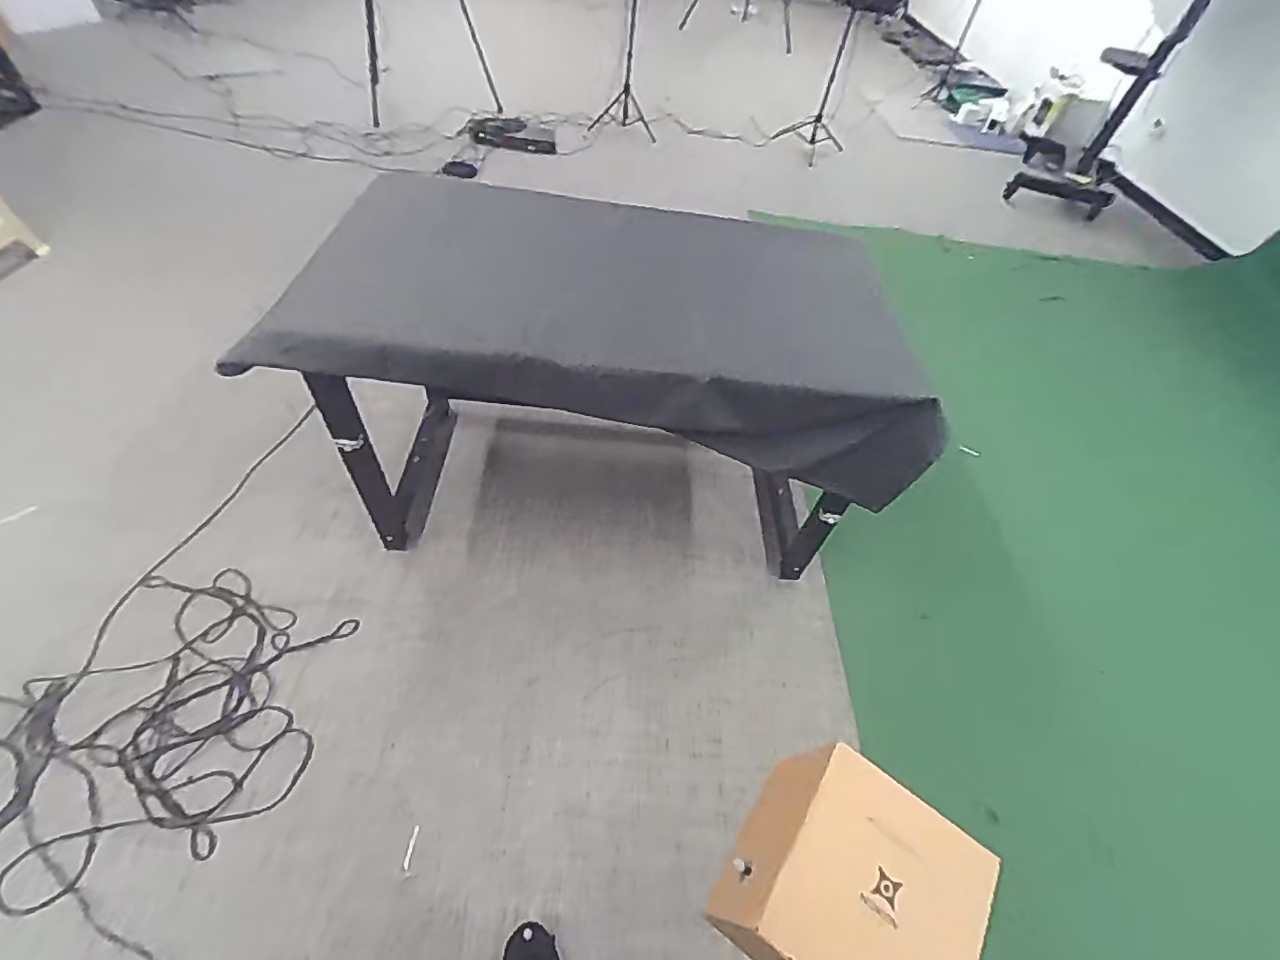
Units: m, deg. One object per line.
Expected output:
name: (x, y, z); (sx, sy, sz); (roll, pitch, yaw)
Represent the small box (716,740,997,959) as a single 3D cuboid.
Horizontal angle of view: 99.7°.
small box: (0.189, 0.390, 0.514); (0.168, 0.176, 0.179); (34, 55, 12)
